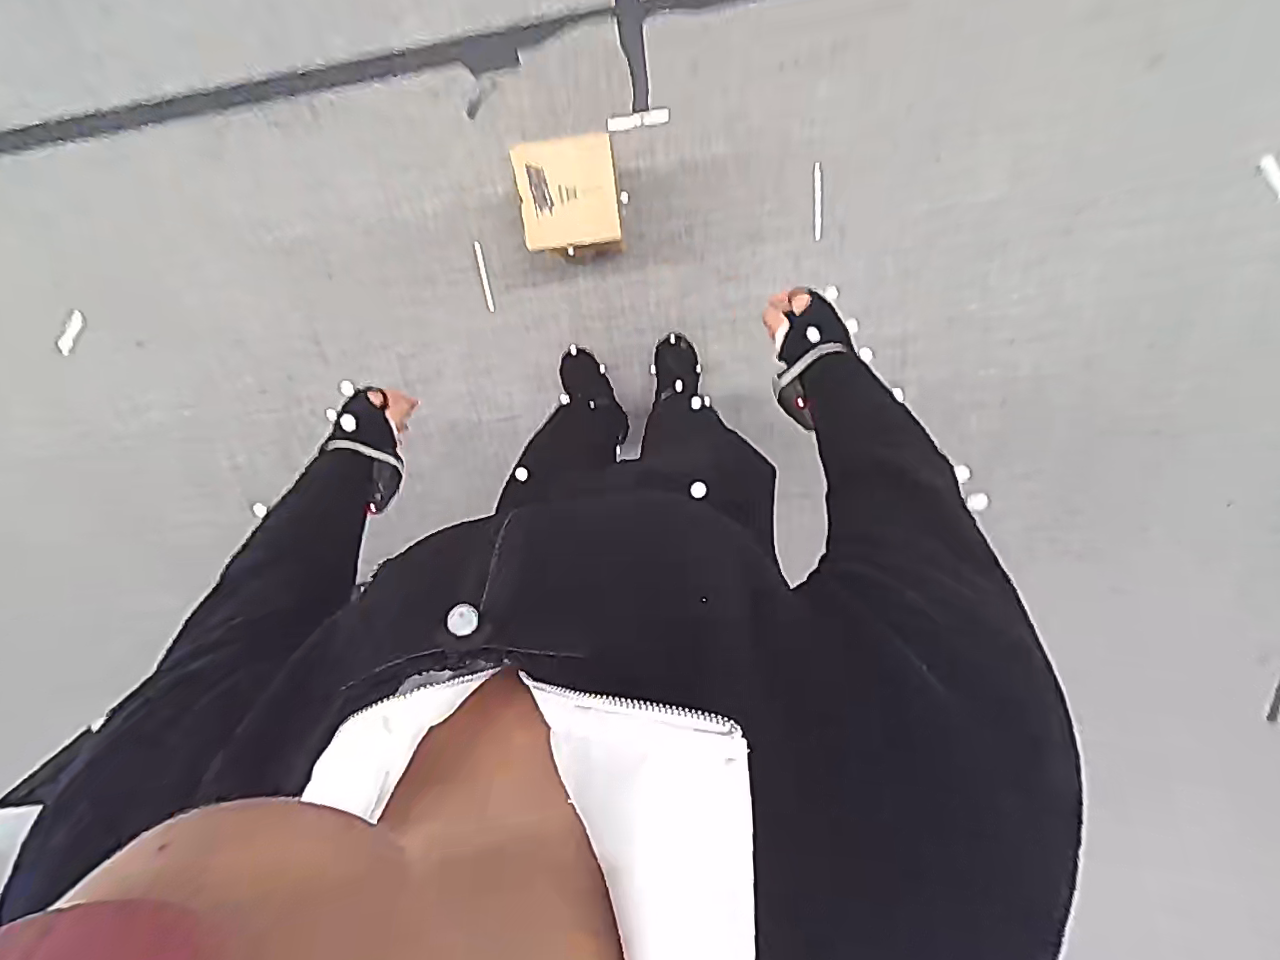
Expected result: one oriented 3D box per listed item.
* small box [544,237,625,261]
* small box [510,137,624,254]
[{"bbox_3d":[-0.126,-0.581,1.177,0.168,0.176,0.179,-5,112,3],"label":"small box"},{"bbox_3d":[-0.127,-0.526,1.020,0.179,0.176,0.168,-6,111,3],"label":"small box"}]
